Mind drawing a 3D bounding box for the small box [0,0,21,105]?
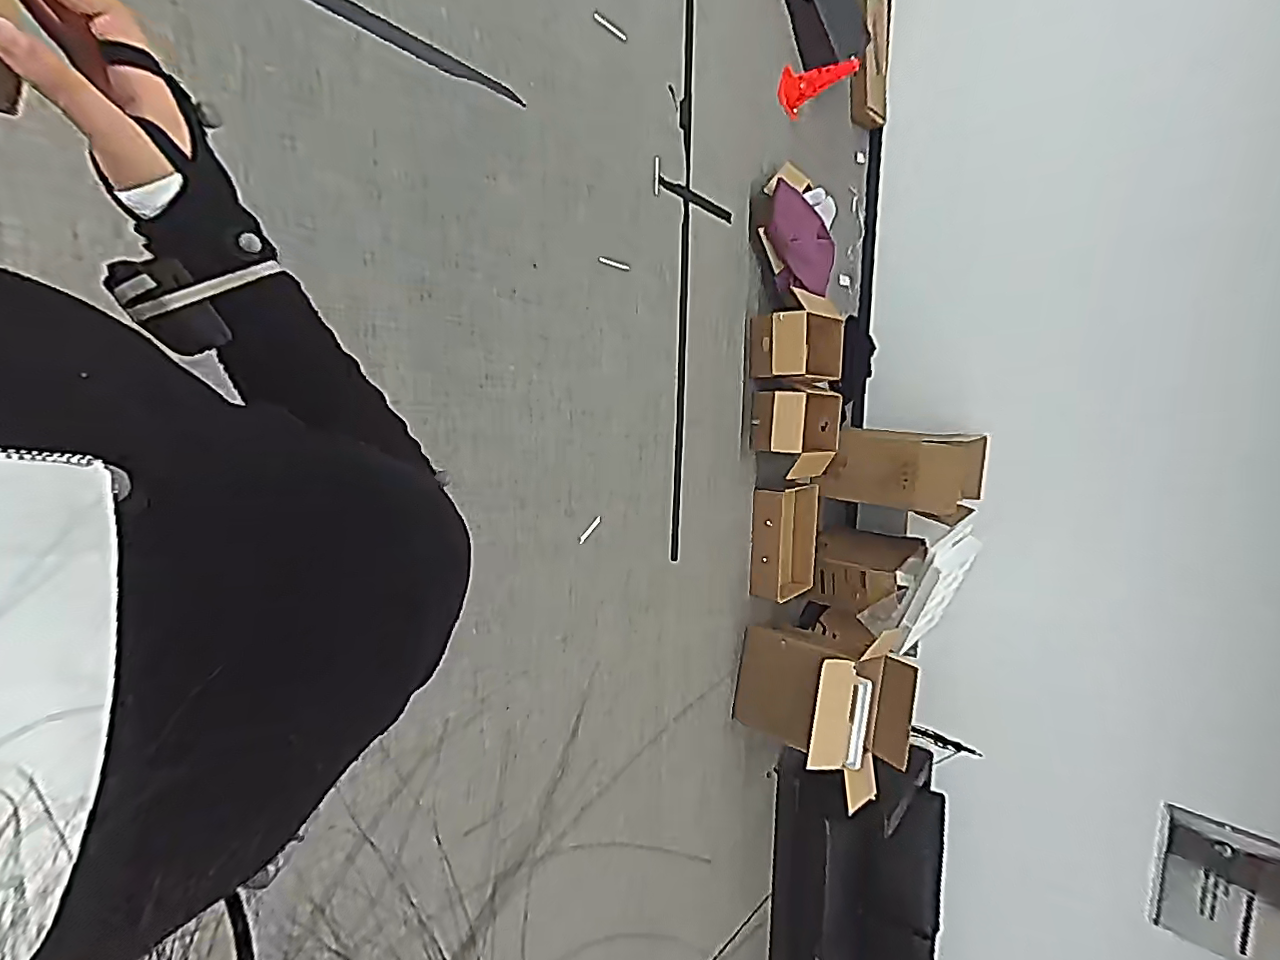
[{"bbox_3d":[-0.419,-0.308,0.244,0.168,0.176,0.179,-10,112,-47],"label":"small box"}]
